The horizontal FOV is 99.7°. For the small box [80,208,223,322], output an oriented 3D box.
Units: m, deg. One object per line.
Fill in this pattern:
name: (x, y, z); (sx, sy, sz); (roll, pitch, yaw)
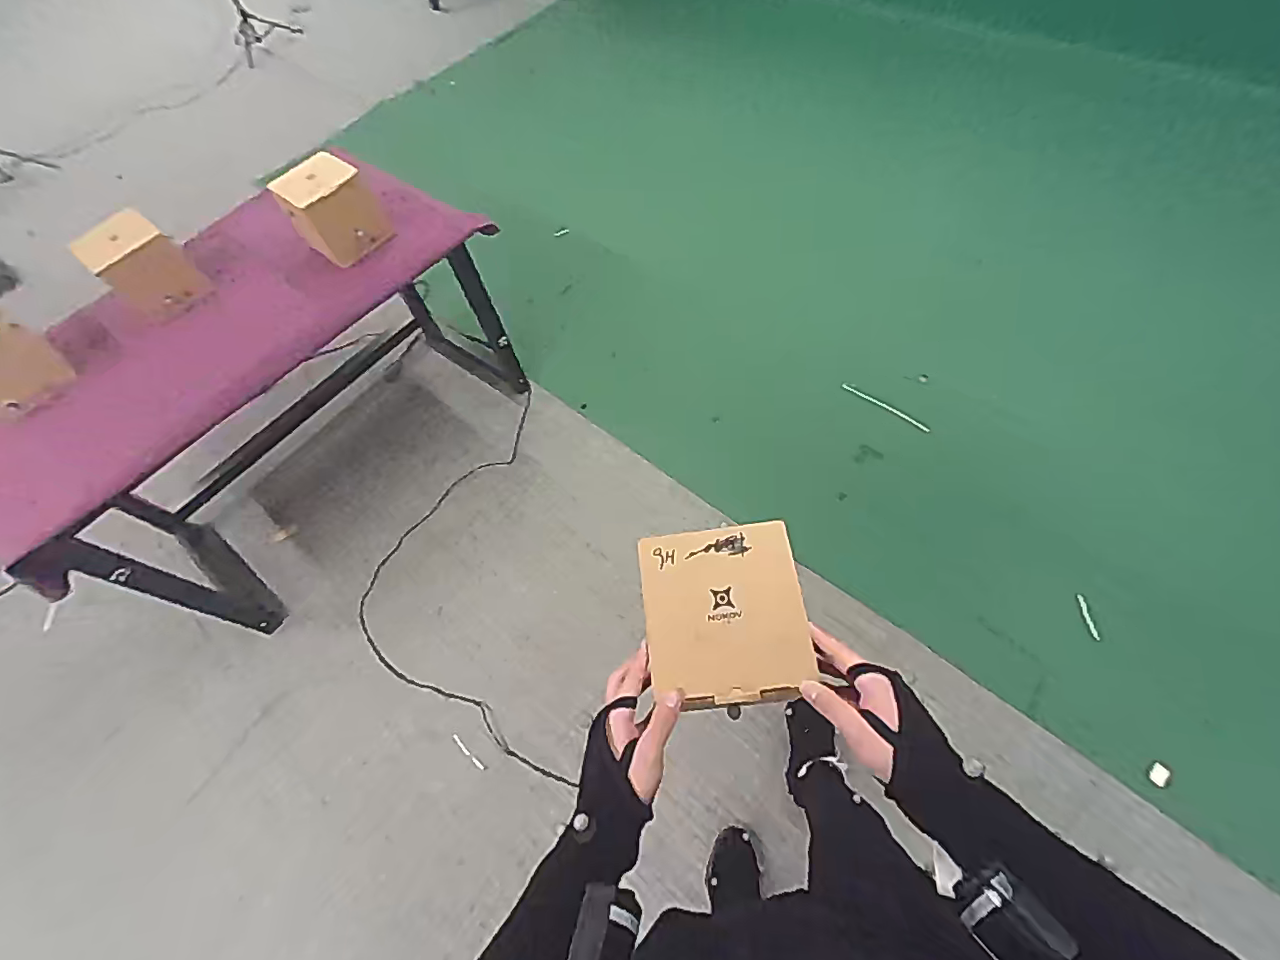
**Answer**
small box: (-1.190, -0.522, 1.328); (0.179, 0.176, 0.168); (36, 72, 22)

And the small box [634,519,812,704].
small box: (0.091, 0.163, 0.635); (0.168, 0.176, 0.179); (-8, 64, 3)

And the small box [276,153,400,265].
small box: (-0.745, -0.669, 1.347); (0.179, 0.176, 0.168); (37, 72, 25)

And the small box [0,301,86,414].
small box: (-1.426, -0.276, 1.218); (0.179, 0.176, 0.168); (34, 70, 23)
